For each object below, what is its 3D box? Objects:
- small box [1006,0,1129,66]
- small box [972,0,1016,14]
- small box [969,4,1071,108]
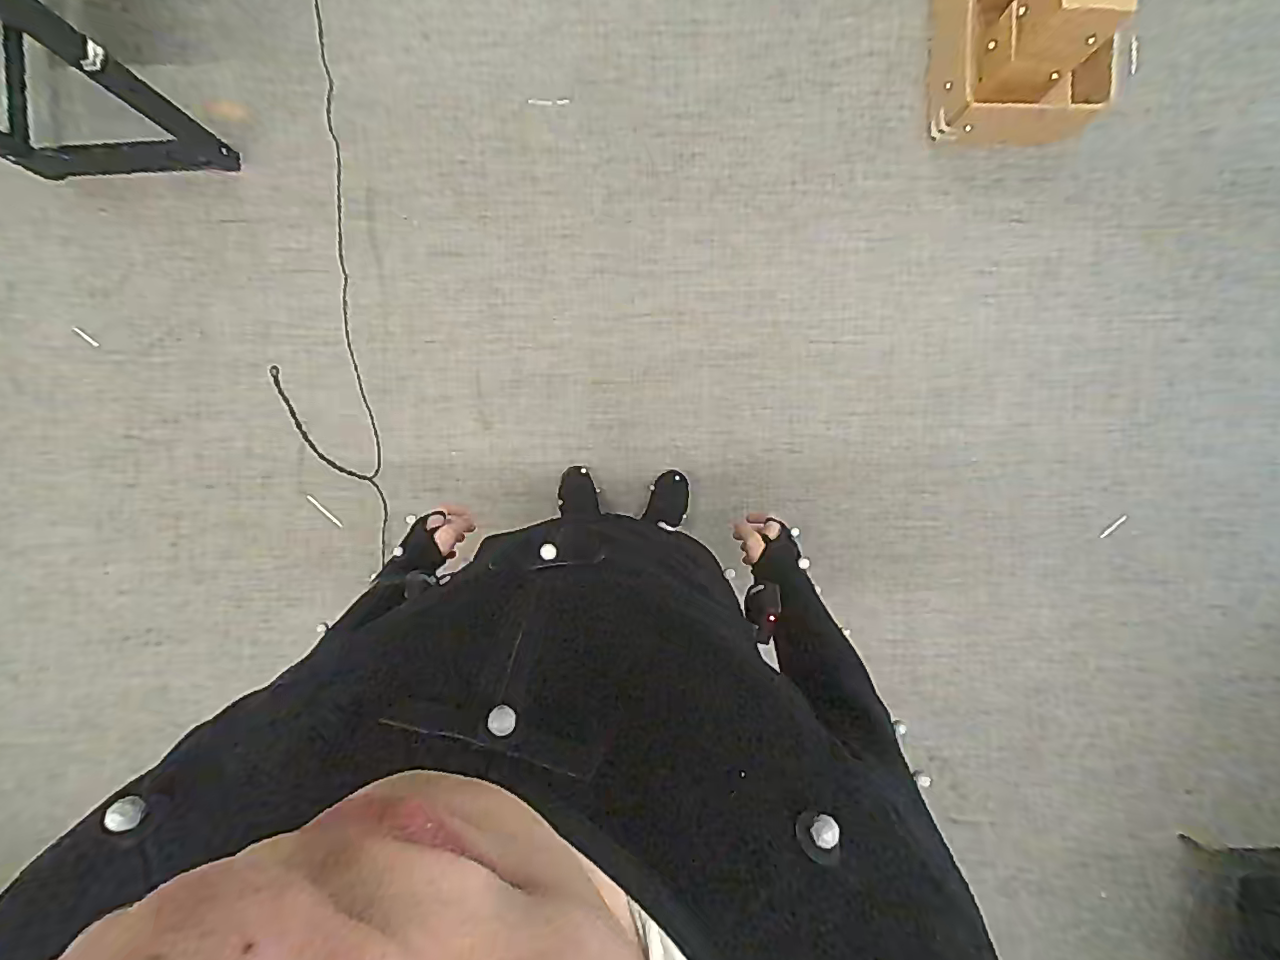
[{"bbox_3d":[1.044,-1.158,1.325,0.179,0.176,0.168,2,90,0],"label":"small box"},{"bbox_3d":[1.041,-1.421,1.478,0.179,0.176,0.168,0,93,0],"label":"small box"},{"bbox_3d":[1.038,-1.160,1.489,0.179,0.176,0.168,0,91,-1],"label":"small box"}]
